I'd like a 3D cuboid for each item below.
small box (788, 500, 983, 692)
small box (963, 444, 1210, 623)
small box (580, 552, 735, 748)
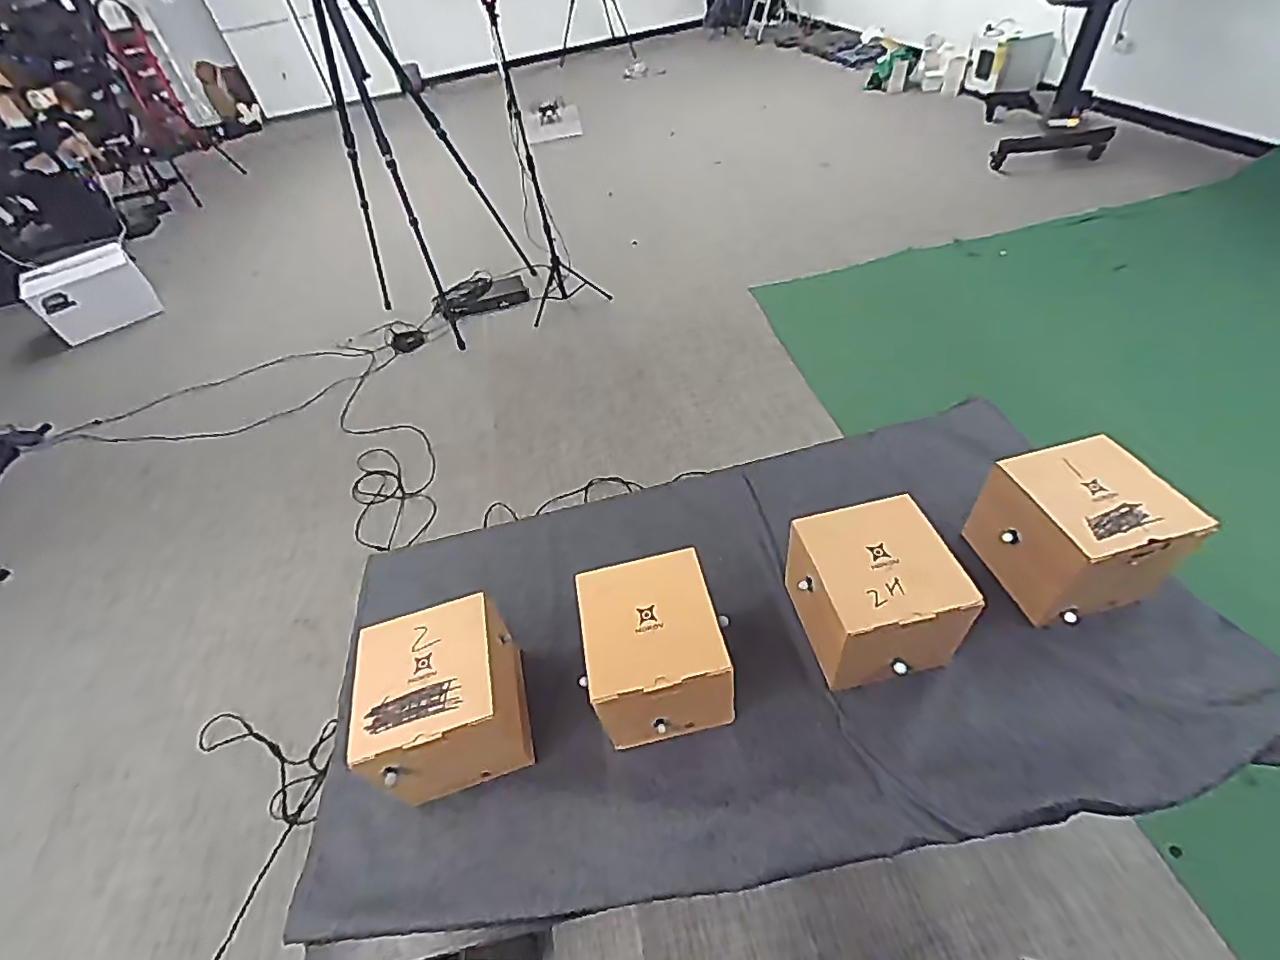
[{"bbox_3d":[0.311,0.158,0.734,0.168,0.176,0.179,-13,47,-2],"label":"small box"},{"bbox_3d":[0.599,0.081,0.757,0.168,0.176,0.179,-13,46,-3],"label":"small box"},{"bbox_3d":[0.021,0.227,0.721,0.168,0.176,0.179,-12,47,-3],"label":"small box"}]
